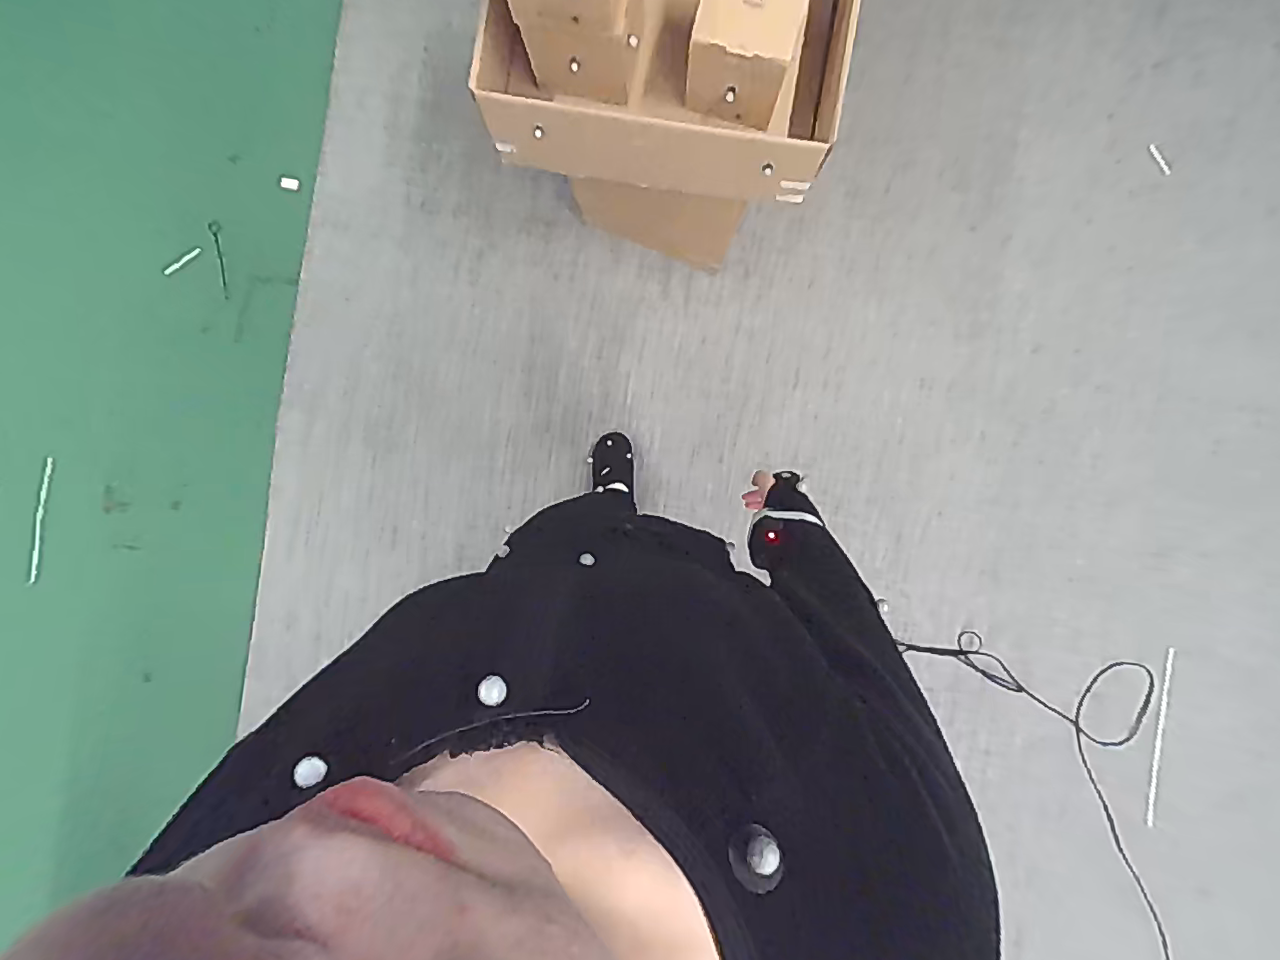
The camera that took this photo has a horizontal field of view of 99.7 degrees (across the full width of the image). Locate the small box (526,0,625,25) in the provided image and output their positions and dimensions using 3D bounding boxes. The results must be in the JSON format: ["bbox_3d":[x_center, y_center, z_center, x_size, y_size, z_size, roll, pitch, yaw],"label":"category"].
[{"bbox_3d":[-0.099,-0.814,0.780,0.168,0.176,0.179,11,90,2],"label":"small box"}]
